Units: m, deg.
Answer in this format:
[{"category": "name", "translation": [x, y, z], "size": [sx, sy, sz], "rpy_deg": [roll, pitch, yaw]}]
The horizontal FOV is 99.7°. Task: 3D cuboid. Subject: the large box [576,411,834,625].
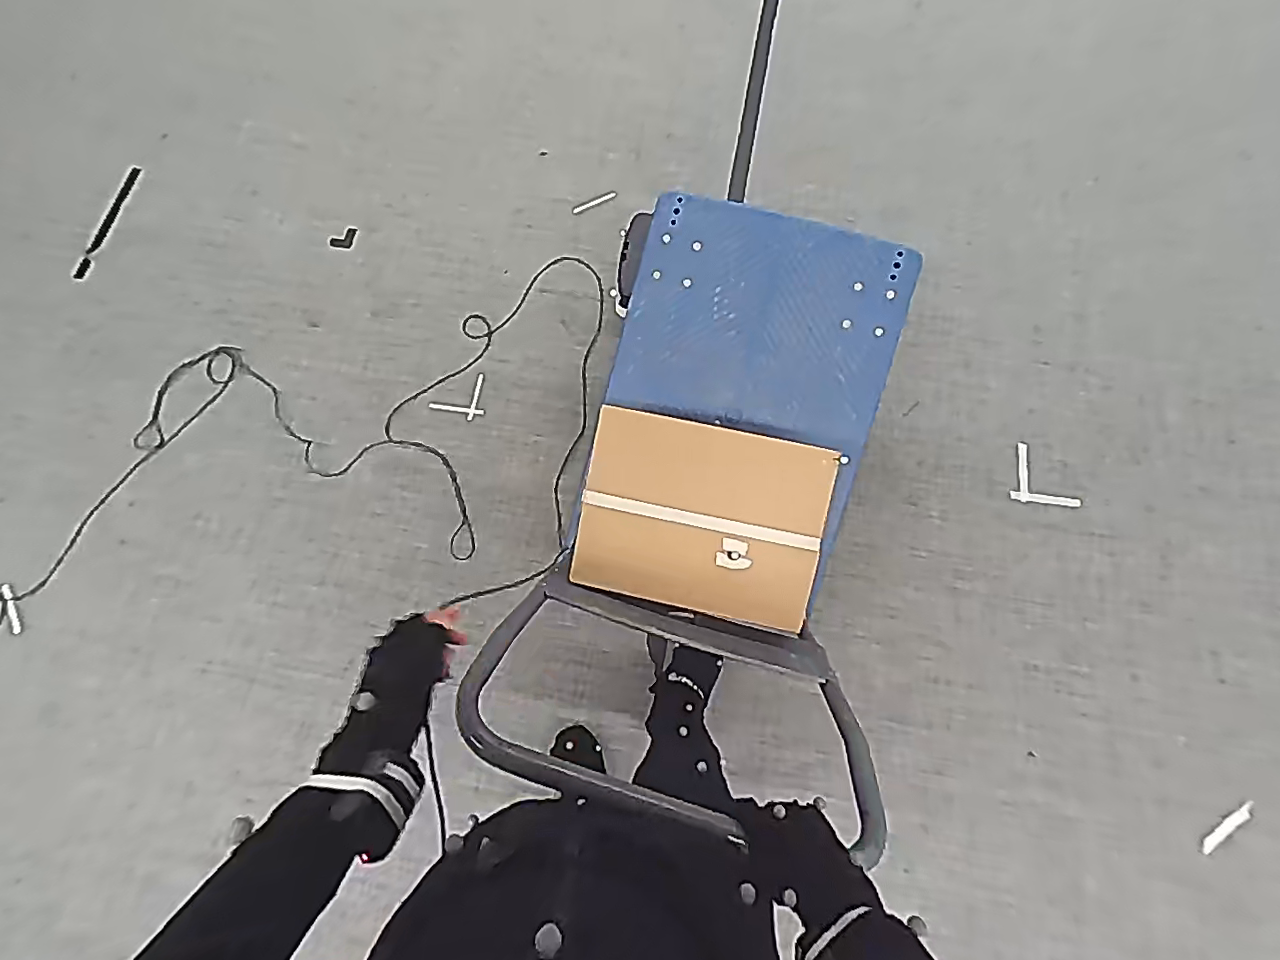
[{"category": "large box", "translation": [0.116, 0.056, 1.080], "size": [0.408, 0.320, 0.320], "rpy_deg": [12, 96, 4]}]
